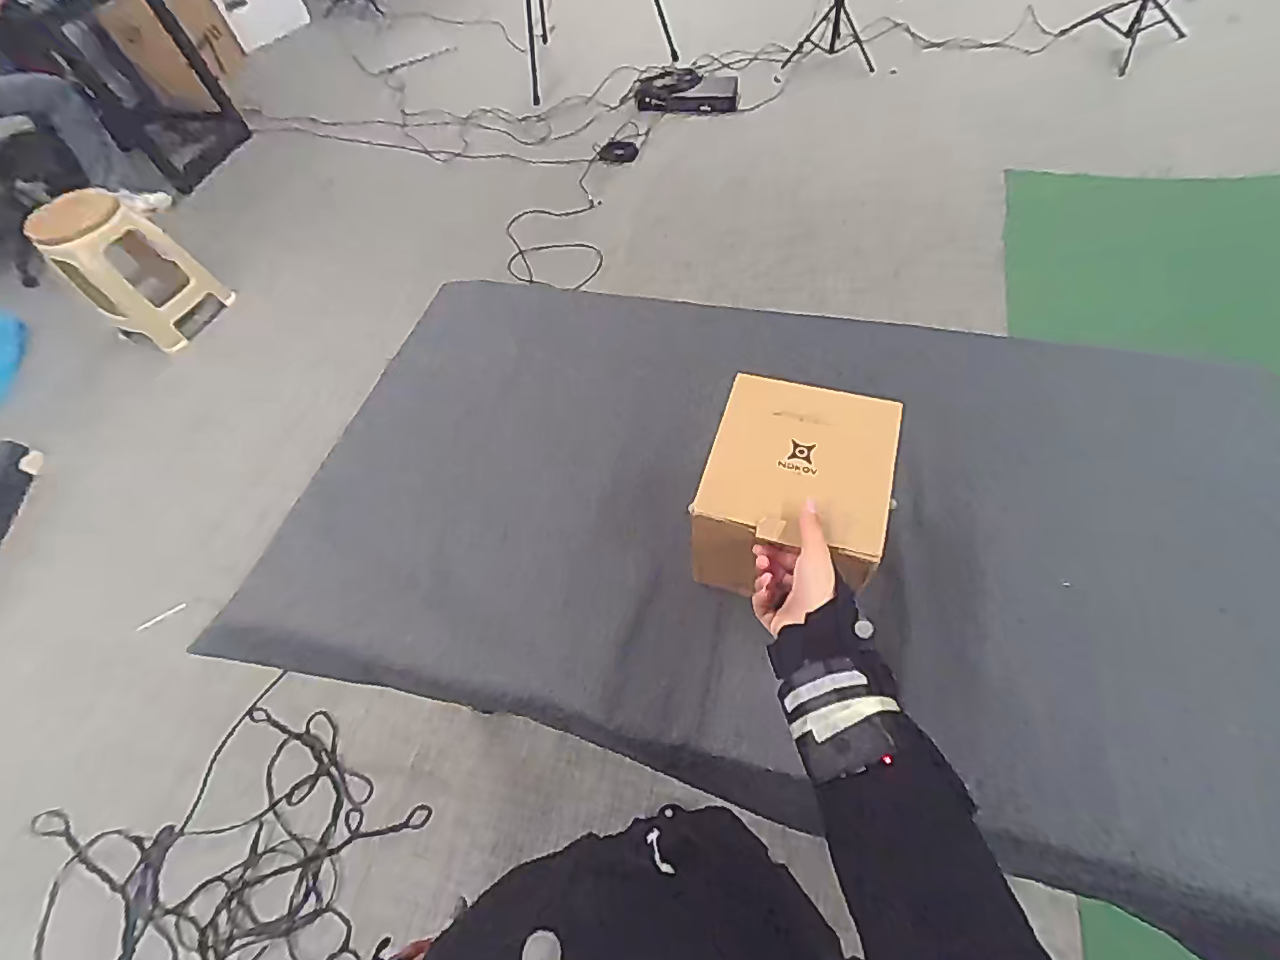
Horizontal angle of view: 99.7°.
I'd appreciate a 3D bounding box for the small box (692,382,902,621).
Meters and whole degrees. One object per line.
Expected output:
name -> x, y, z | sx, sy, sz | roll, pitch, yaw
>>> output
small box -> 0.159, 0.028, 0.573 | 0.168, 0.176, 0.179 | 14, 59, 14
